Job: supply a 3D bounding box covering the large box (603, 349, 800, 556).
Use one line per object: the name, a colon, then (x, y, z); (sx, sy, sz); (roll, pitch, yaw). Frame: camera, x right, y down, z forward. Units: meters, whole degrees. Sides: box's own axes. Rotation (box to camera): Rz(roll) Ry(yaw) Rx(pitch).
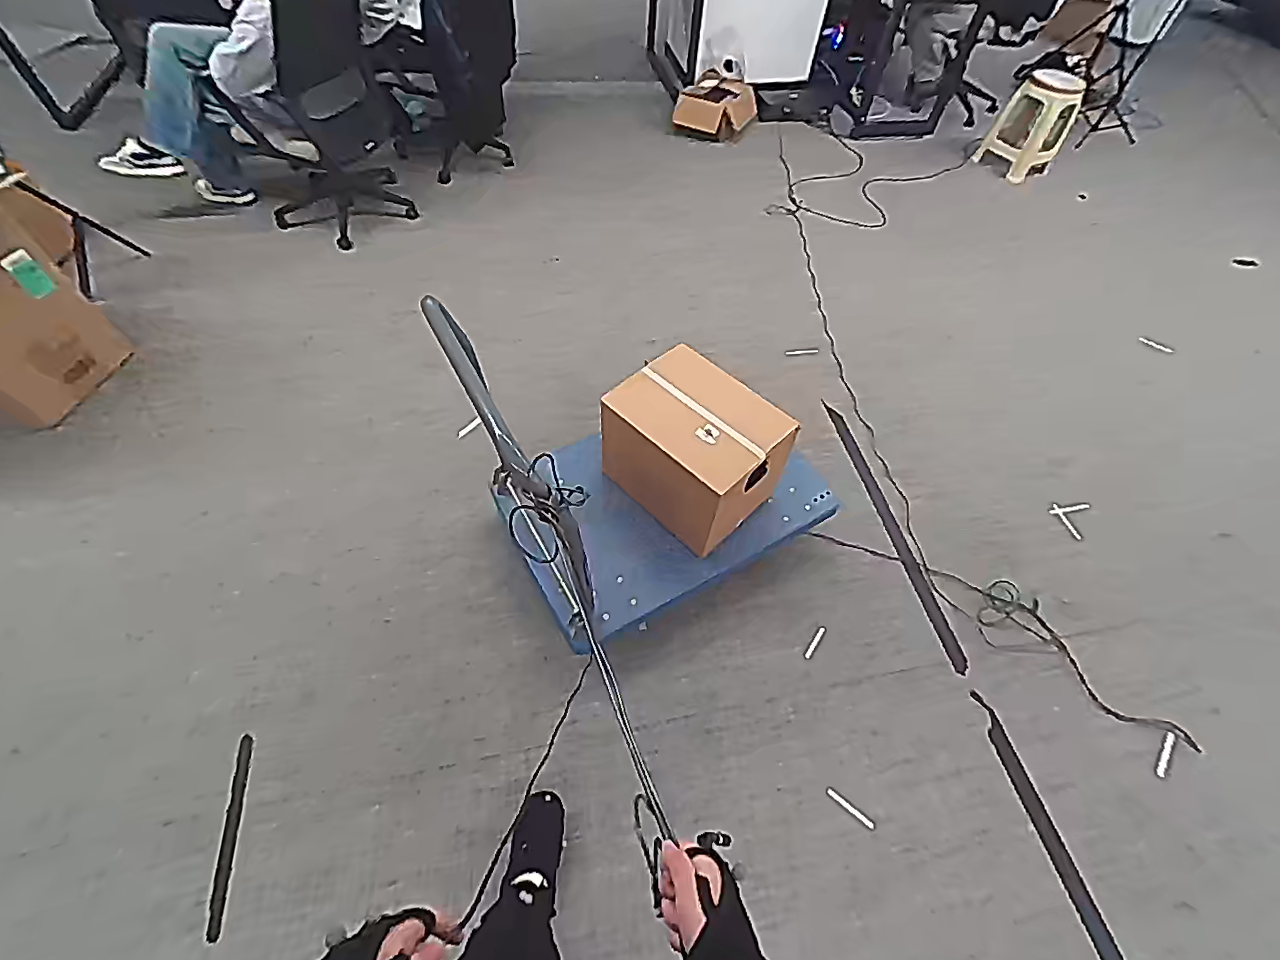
large box: (0.142, -0.077, 1.463); (0.320, 0.320, 0.408); (-39, 66, -25)
